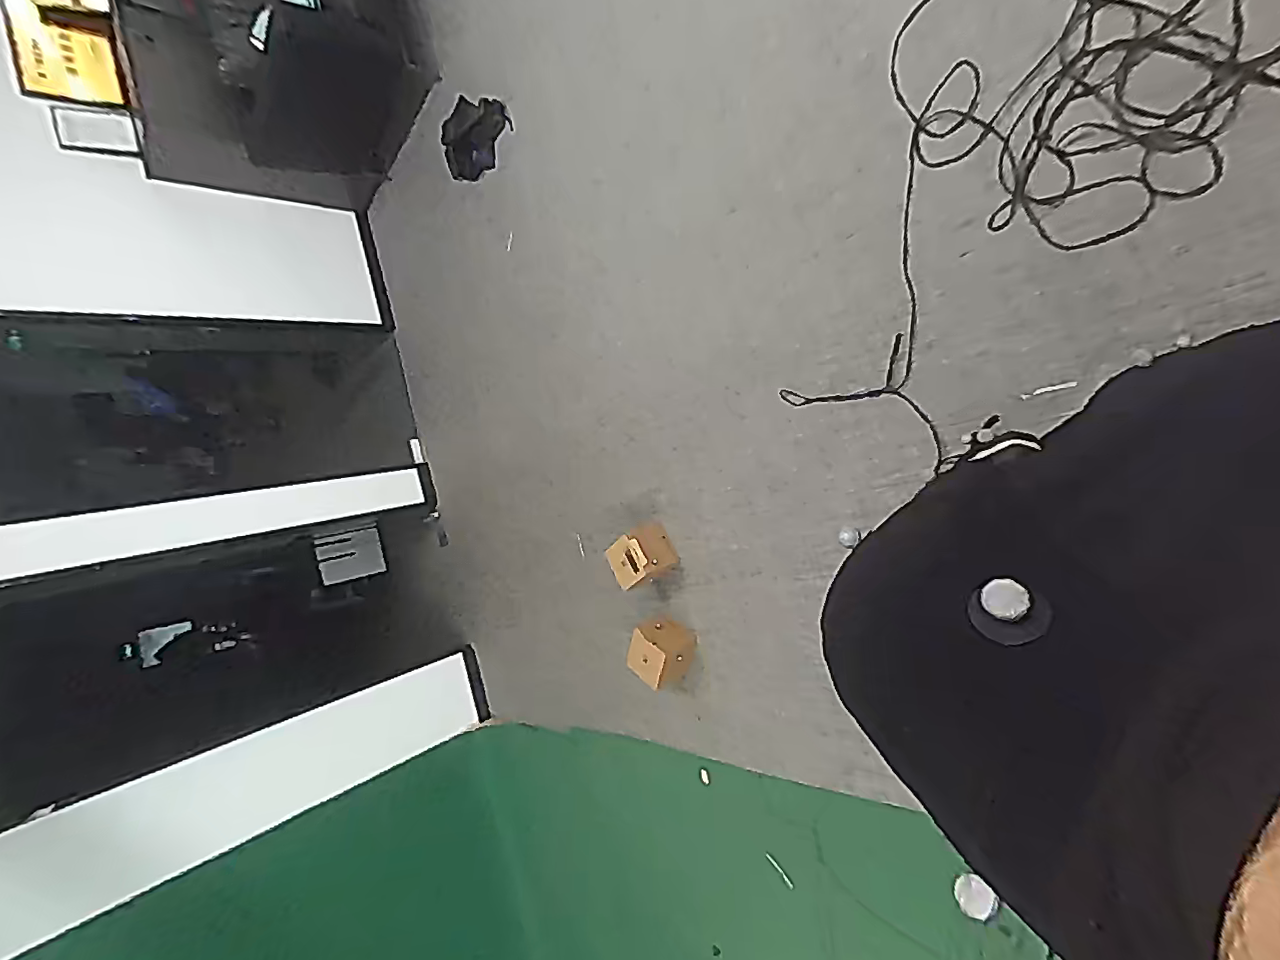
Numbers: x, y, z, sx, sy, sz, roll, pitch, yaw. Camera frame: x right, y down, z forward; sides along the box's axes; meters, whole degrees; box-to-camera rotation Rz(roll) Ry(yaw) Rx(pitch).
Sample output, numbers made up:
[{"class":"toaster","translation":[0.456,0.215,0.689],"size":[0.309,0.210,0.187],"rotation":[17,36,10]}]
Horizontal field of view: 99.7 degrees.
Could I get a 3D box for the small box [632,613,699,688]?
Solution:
[{"class":"small box","translation":[0.095,0.620,1.993],"size":[0.168,0.176,0.179],"rotation":[32,122,40]}]
